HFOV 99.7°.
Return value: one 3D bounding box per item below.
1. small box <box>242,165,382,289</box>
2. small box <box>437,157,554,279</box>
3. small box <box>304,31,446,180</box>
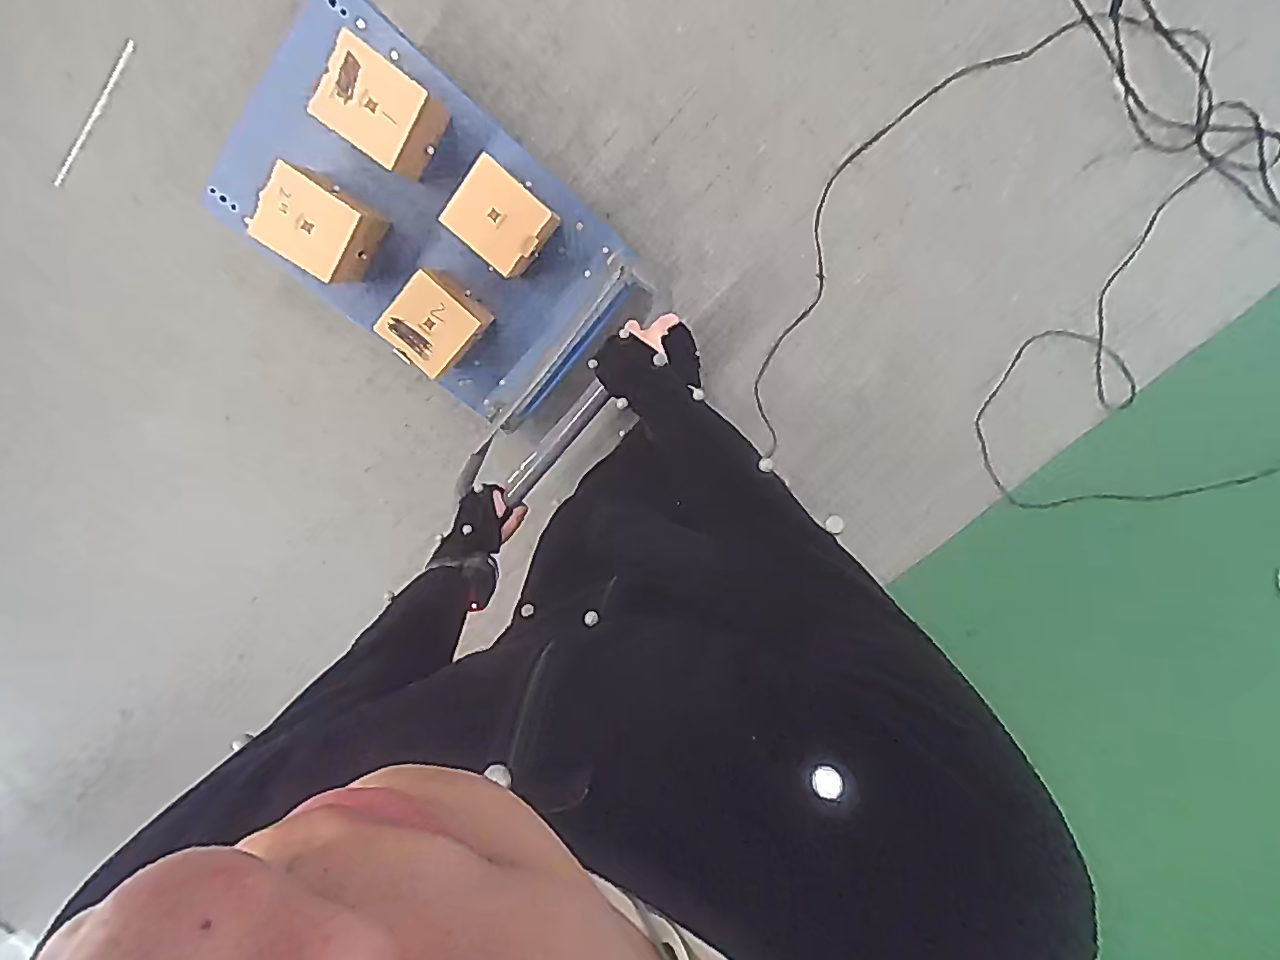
[{"bbox_3d":[-0.692,-0.538,1.165,0.179,0.176,0.168,33,105,-15],"label":"small box"},{"bbox_3d":[-0.307,-0.562,1.187,0.179,0.176,0.168,38,104,-17],"label":"small box"},{"bbox_3d":[-0.527,-0.740,1.099,0.179,0.176,0.168,33,106,-16],"label":"small box"}]
